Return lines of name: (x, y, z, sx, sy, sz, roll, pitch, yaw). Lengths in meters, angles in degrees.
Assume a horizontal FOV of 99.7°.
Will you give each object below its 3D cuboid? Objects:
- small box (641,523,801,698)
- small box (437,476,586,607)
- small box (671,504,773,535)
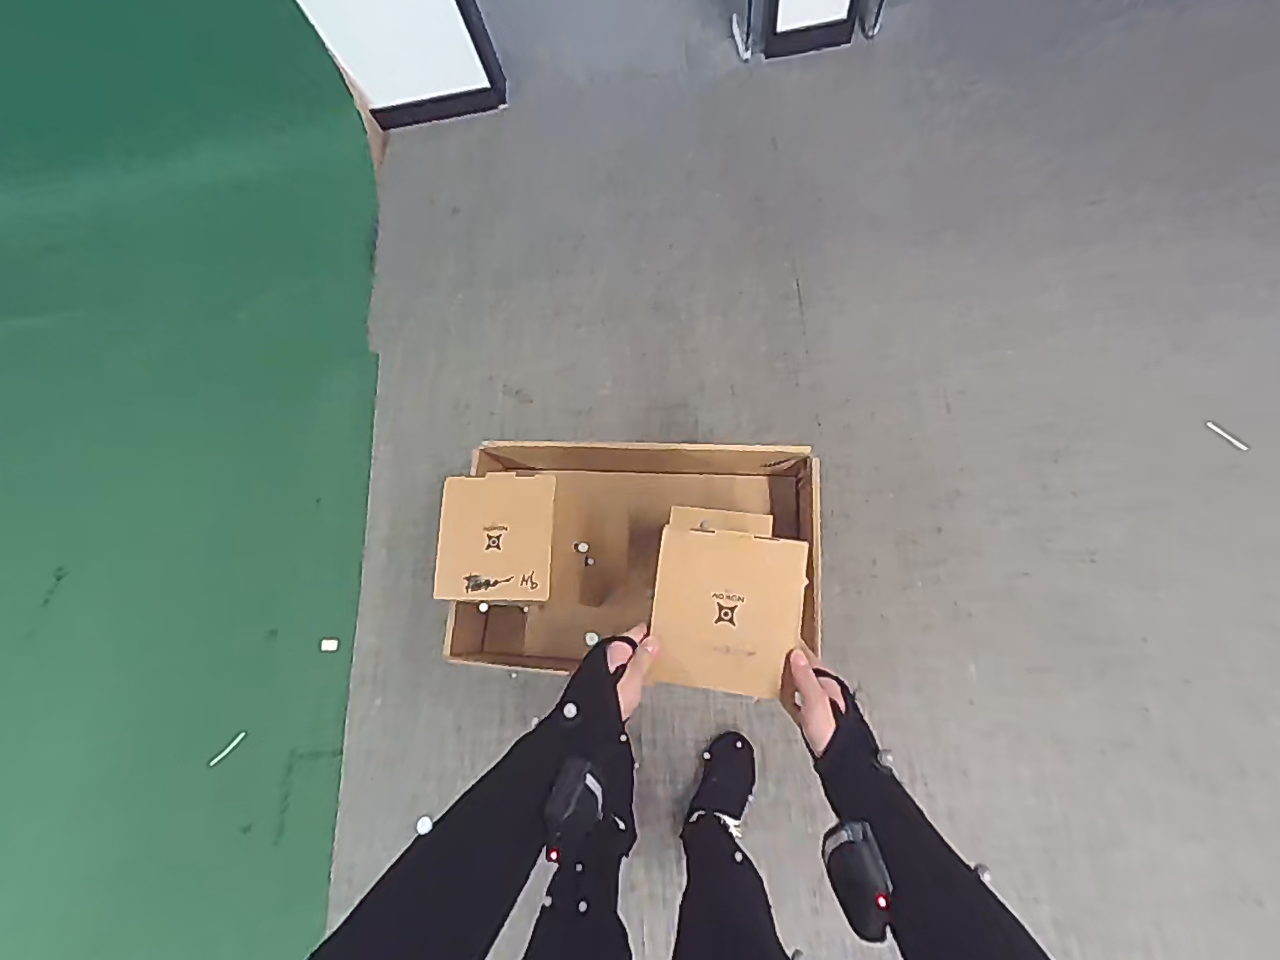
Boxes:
small box: (0.103, 0.155, 0.688, 0.168, 0.176, 0.179, 6, 83, 10)
small box: (-0.185, 0.101, 0.831, 0.168, 0.176, 0.179, -2, 75, 10)
small box: (0.134, 0.150, 0.934, 0.168, 0.176, 0.179, 5, 77, 11)
